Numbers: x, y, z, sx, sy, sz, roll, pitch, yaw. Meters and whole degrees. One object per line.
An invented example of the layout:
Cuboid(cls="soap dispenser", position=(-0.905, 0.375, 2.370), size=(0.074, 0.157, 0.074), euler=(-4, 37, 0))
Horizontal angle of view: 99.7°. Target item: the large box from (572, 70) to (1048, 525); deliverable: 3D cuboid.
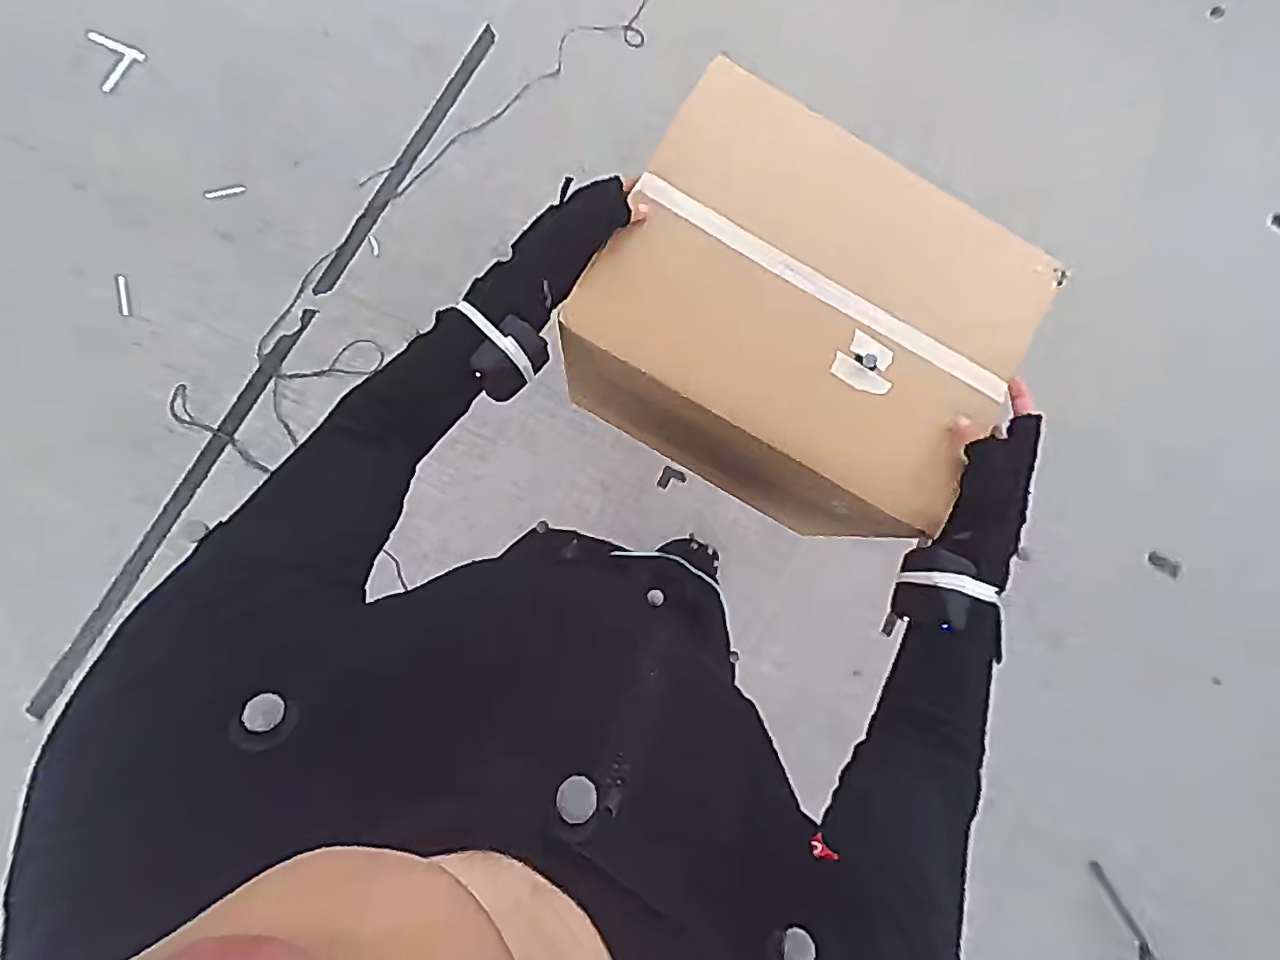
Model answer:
Cuboid(cls="large box", position=(0.161, -0.171, 0.674), size=(0.408, 0.320, 0.320), euler=(30, 84, -3))
